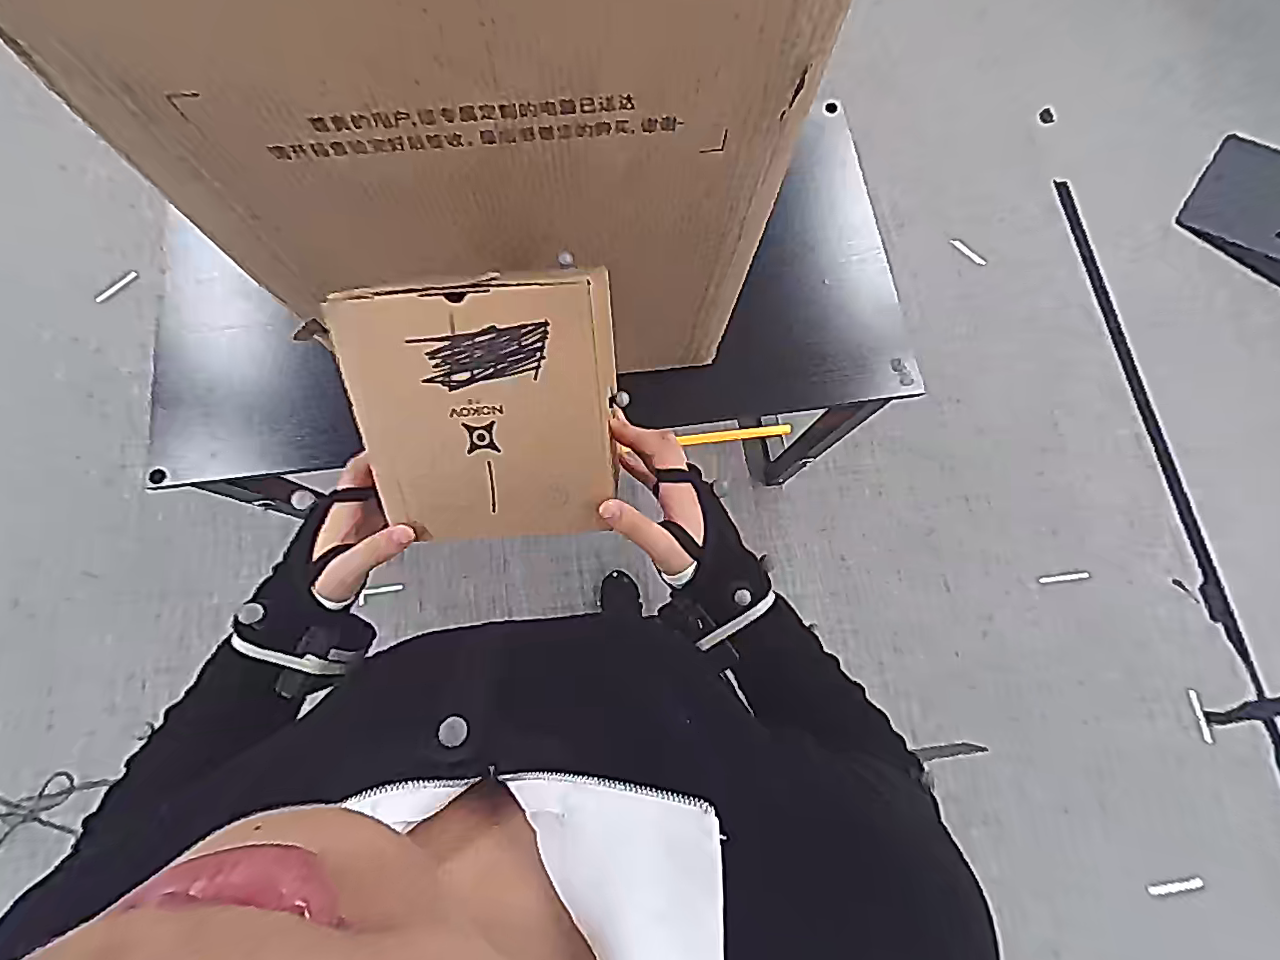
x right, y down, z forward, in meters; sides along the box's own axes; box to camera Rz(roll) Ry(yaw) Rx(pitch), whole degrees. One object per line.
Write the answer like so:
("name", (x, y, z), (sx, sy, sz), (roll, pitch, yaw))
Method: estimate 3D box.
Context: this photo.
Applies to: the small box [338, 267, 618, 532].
("small box", (-0.106, -0.075, 0.444), (0.168, 0.176, 0.179), (-4, 112, 1))
